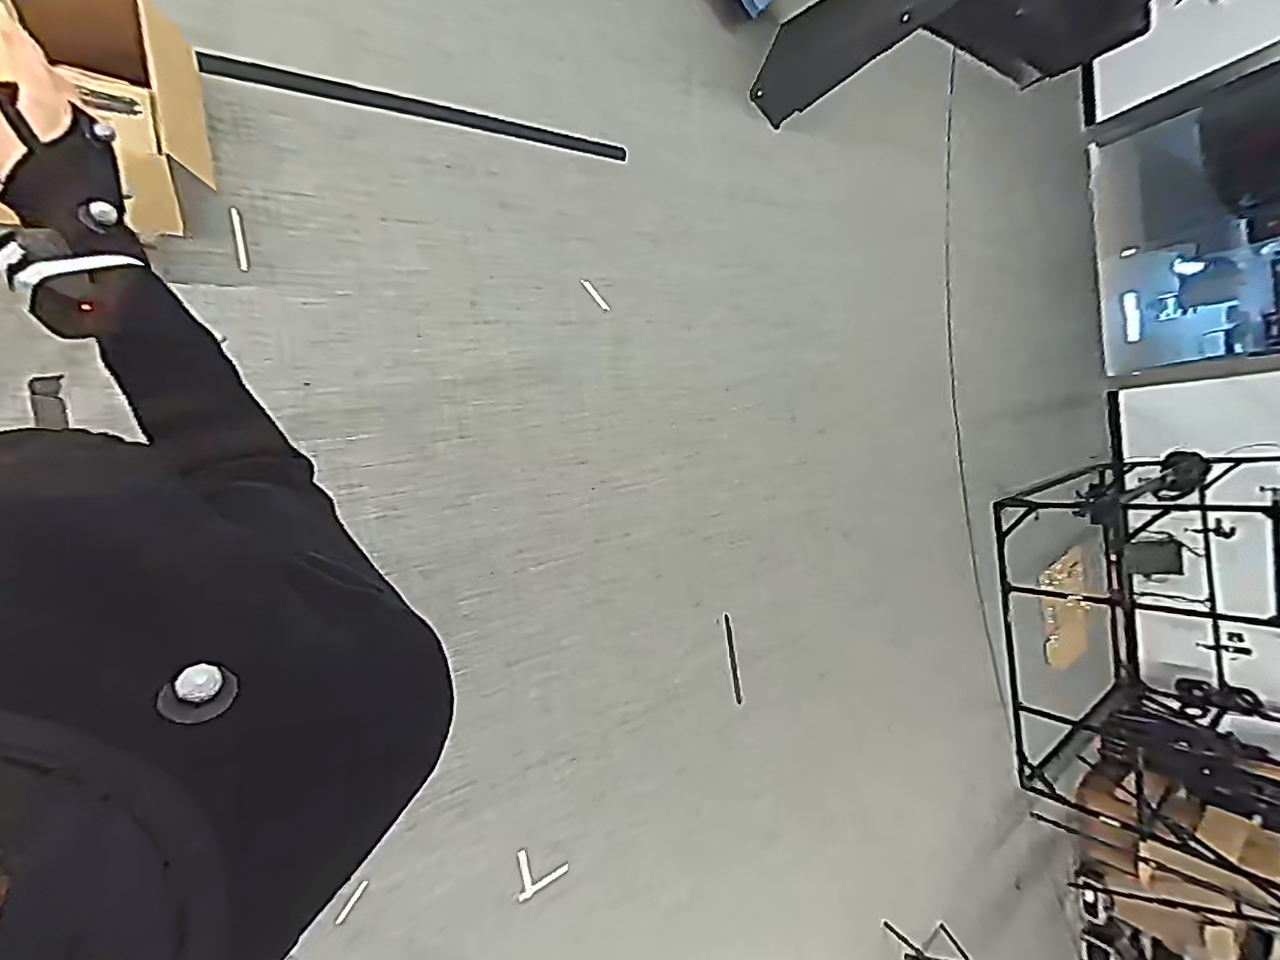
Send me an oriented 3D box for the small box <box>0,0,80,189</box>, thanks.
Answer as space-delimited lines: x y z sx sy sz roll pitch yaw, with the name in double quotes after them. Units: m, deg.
-0.591 -0.350 0.413 0.168 0.176 0.179 -22 103 -33 "small box"
